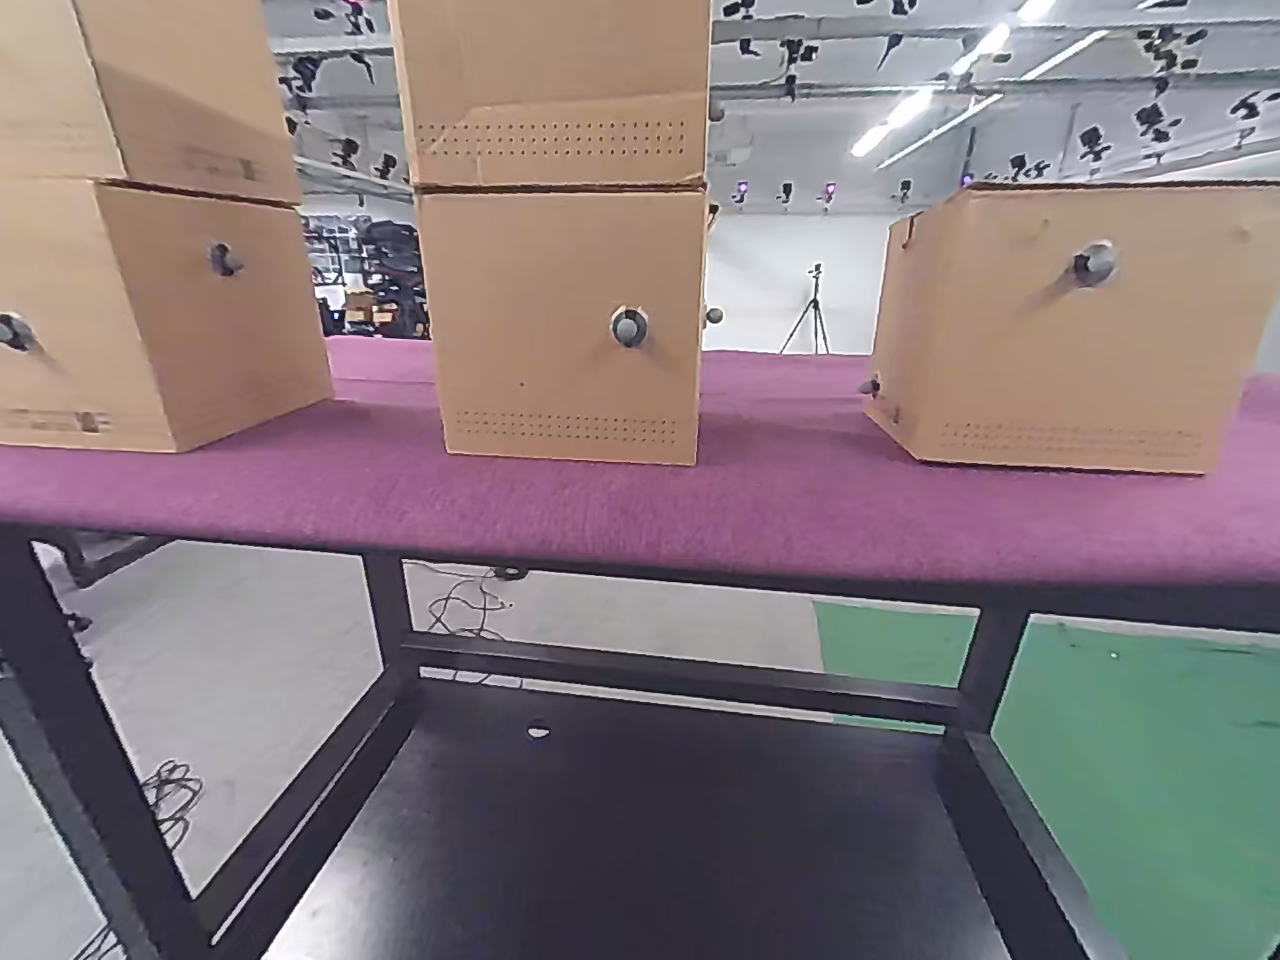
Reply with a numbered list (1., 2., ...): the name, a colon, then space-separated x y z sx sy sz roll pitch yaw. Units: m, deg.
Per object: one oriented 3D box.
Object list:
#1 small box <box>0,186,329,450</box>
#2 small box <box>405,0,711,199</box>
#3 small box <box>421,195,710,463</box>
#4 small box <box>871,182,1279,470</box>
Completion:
1. small box: -0.381 -0.128 0.429 0.168 0.176 0.179 4 21 4
2. small box: -0.043 -0.269 0.364 0.179 0.176 0.168 2 20 4
3. small box: -0.038 -0.115 0.419 0.179 0.176 0.168 2 20 6
4. small box: 0.284 -0.110 0.406 0.179 0.176 0.168 4 19 8
